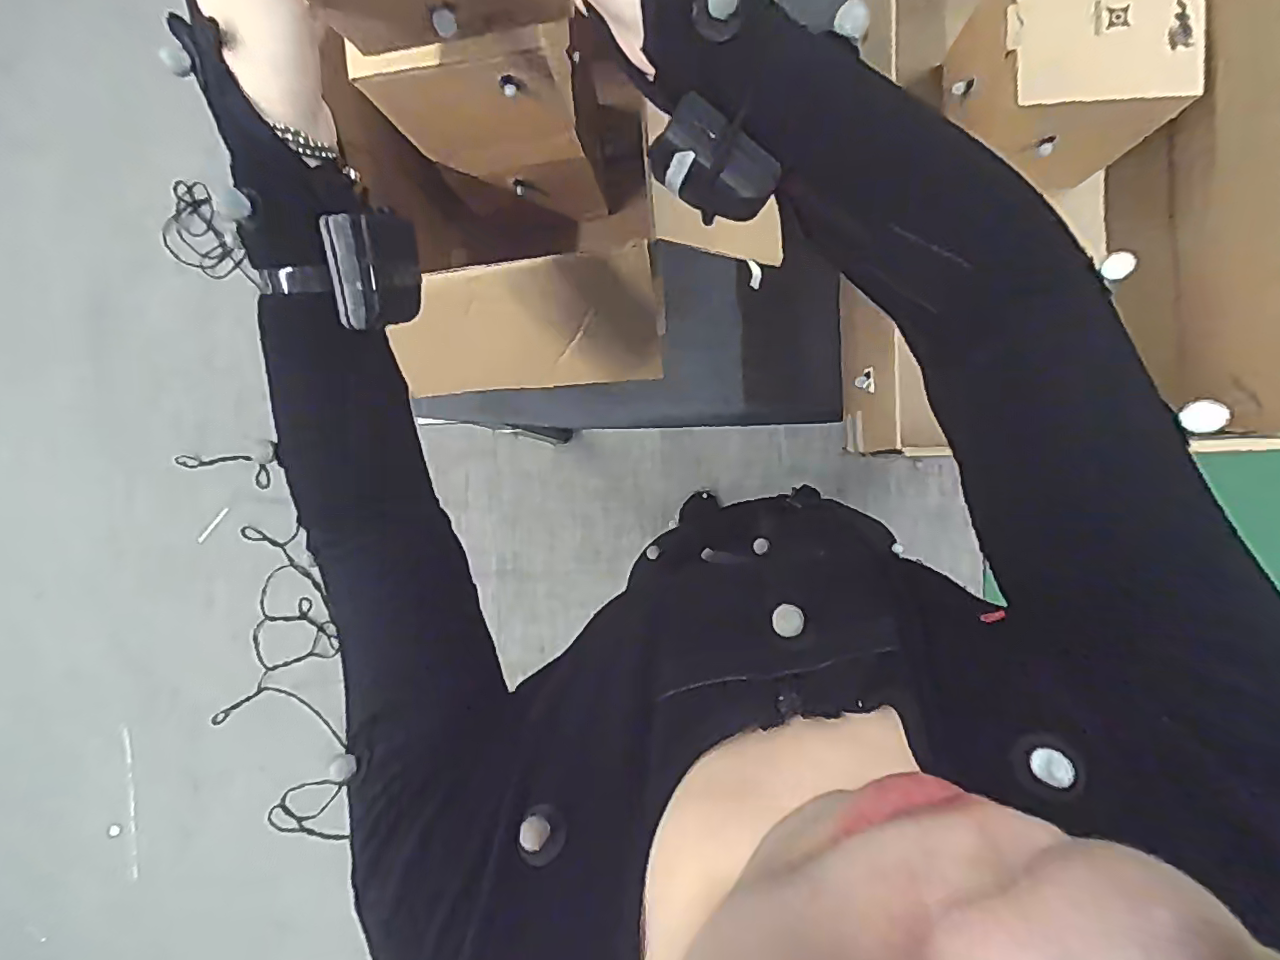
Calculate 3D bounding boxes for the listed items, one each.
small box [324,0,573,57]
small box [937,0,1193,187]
[{"bbox_3d":[-0.138,-0.386,0.305,0.168,0.176,0.179,-10,110,1],"label":"small box"},{"bbox_3d":[0.459,-0.456,0.613,0.179,0.176,0.168,0,92,7],"label":"small box"}]
